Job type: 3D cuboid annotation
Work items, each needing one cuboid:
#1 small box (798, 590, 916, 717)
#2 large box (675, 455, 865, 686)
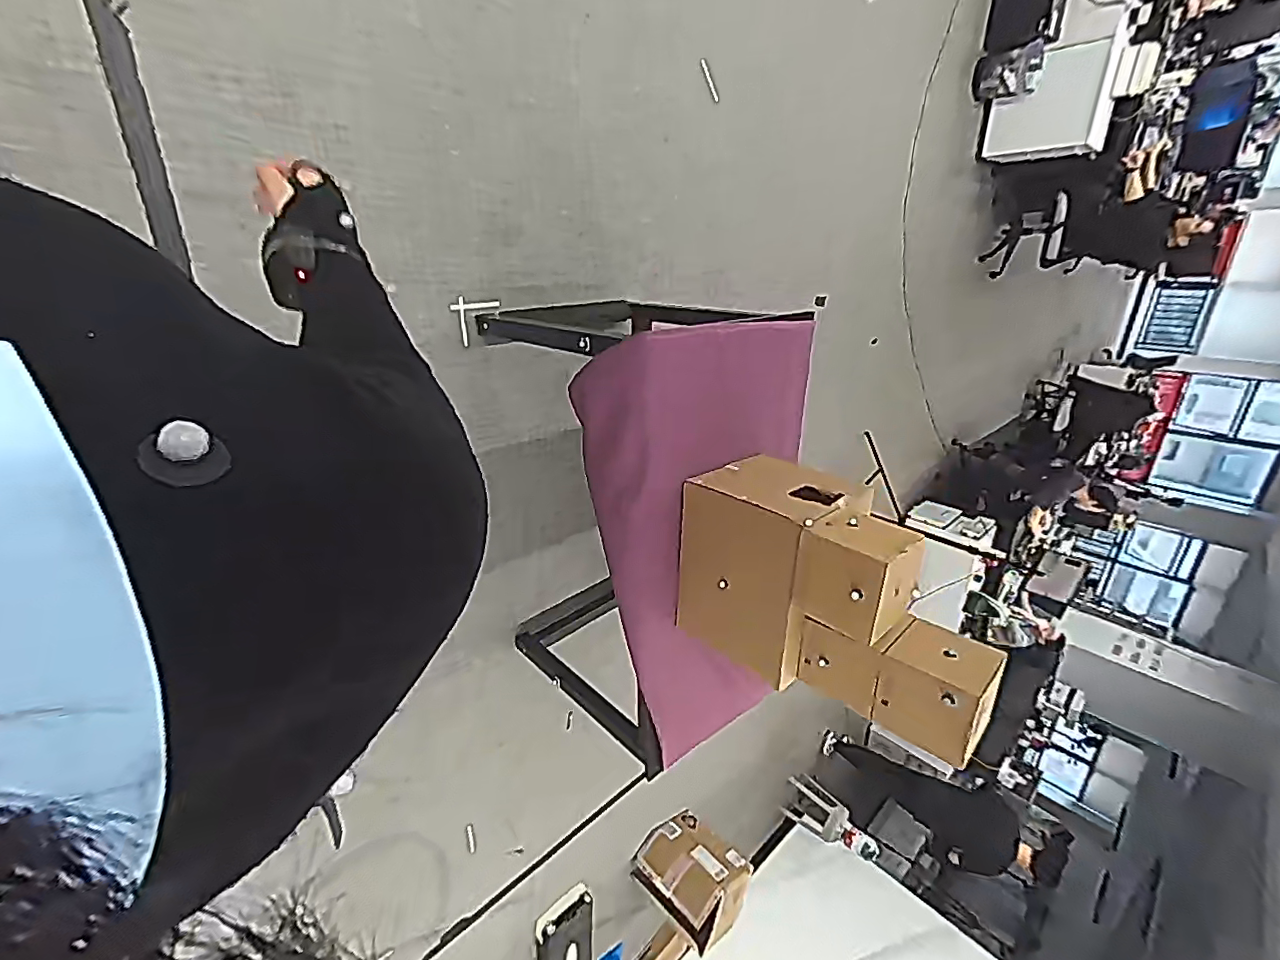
[{"bbox_3d":[0.466,0.362,1.169,0.179,0.176,0.168,-19,117,-41],"label":"small box"},{"bbox_3d":[0.298,0.191,1.294,0.320,0.320,0.408,-20,118,-42],"label":"large box"}]
